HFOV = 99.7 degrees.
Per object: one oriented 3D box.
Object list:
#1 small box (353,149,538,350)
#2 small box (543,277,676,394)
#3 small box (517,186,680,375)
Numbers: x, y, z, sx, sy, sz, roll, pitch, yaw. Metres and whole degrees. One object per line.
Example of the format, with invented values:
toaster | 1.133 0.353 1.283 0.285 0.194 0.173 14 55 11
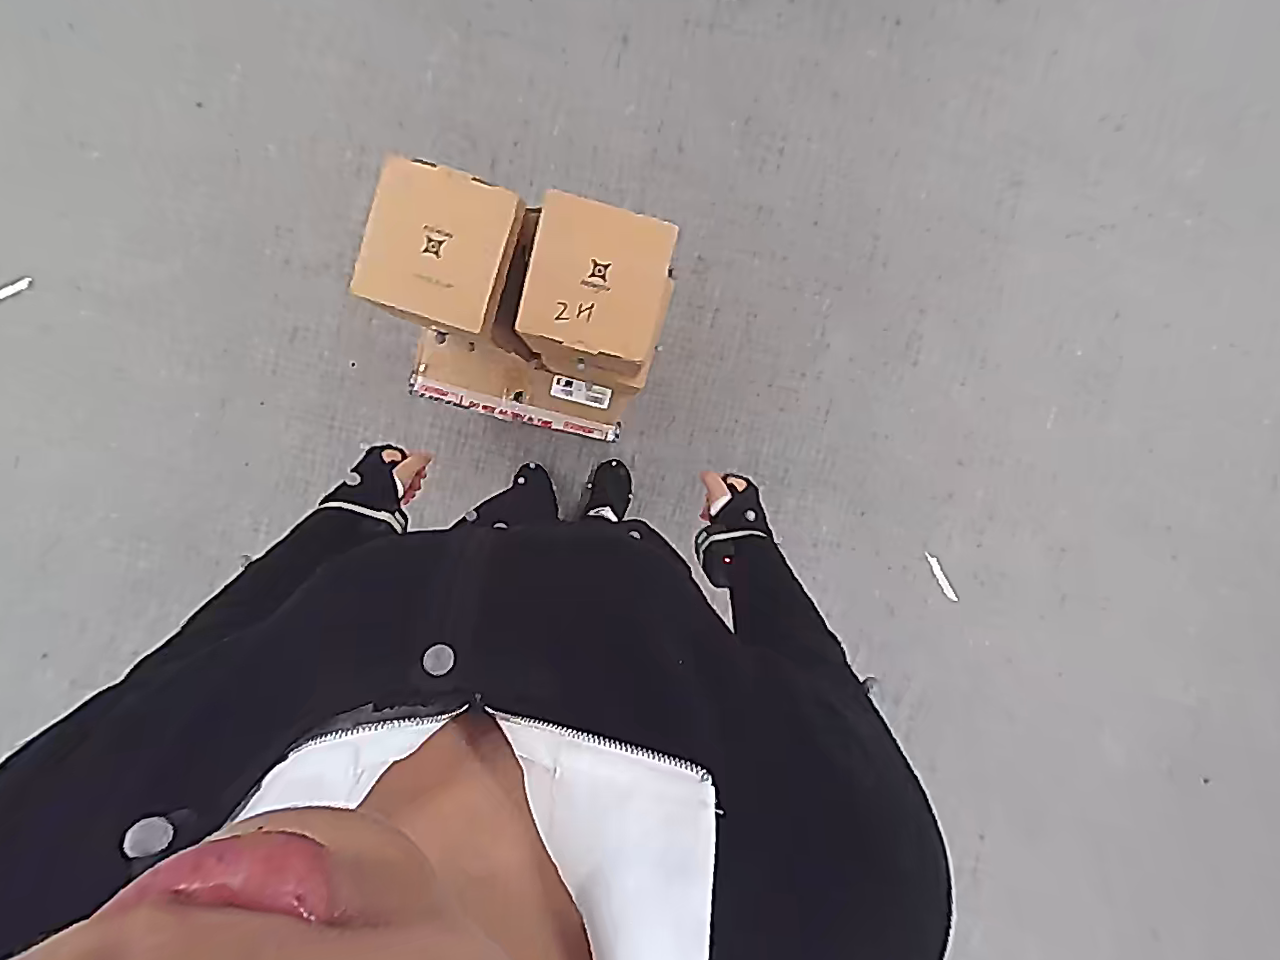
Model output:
small box | -0.242 -0.289 0.721 0.168 0.176 0.179 17 95 0
small box | -0.052 -0.252 0.896 0.168 0.176 0.179 16 95 -4
small box | -0.055 -0.253 0.730 0.168 0.176 0.179 14 94 -4
